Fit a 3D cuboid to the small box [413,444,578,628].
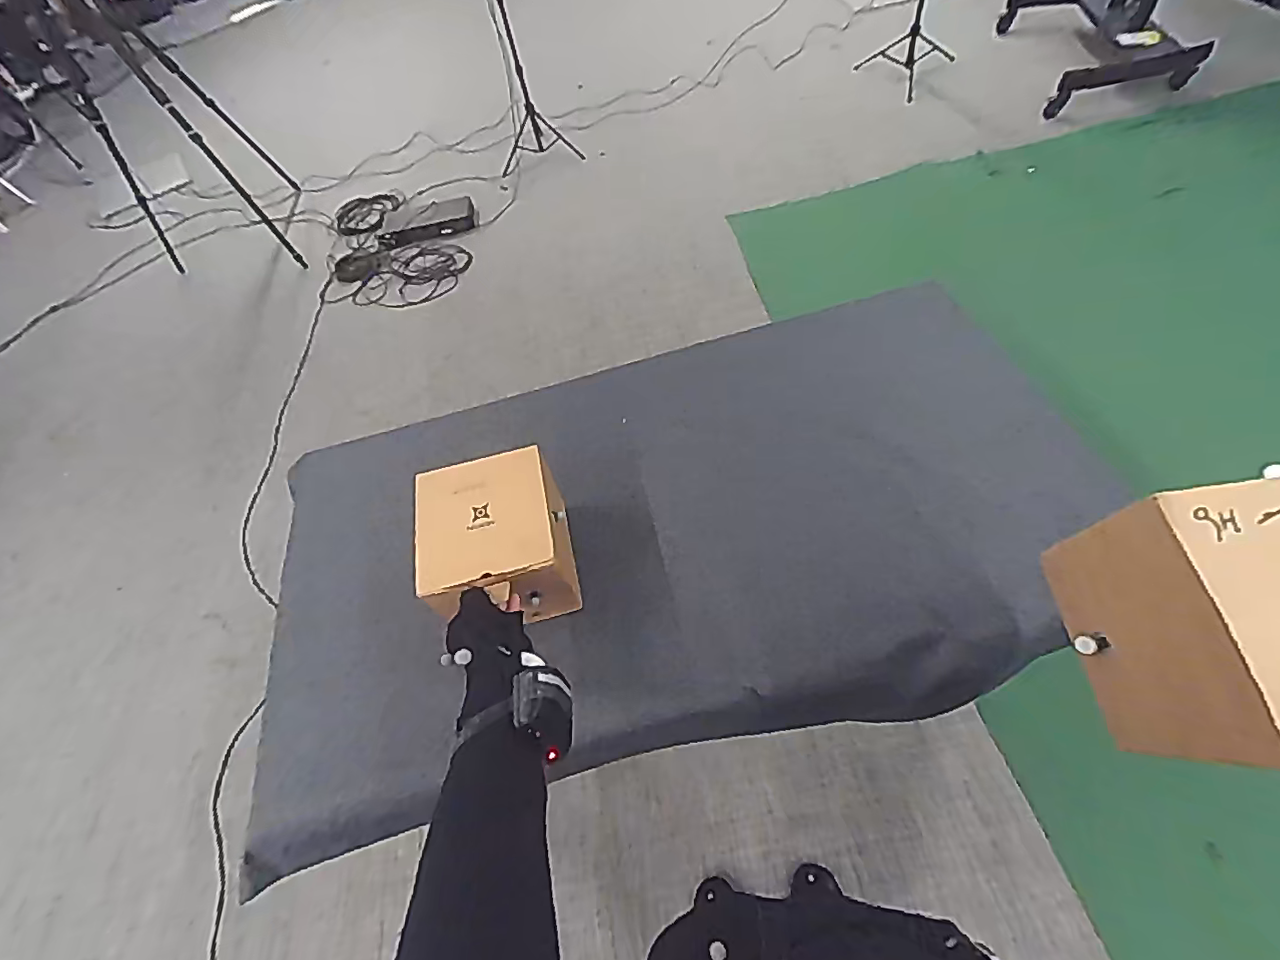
[{"bbox_3d":[-0.188,0.085,0.729,0.168,0.176,0.179,-15,56,-3],"label":"small box"}]
